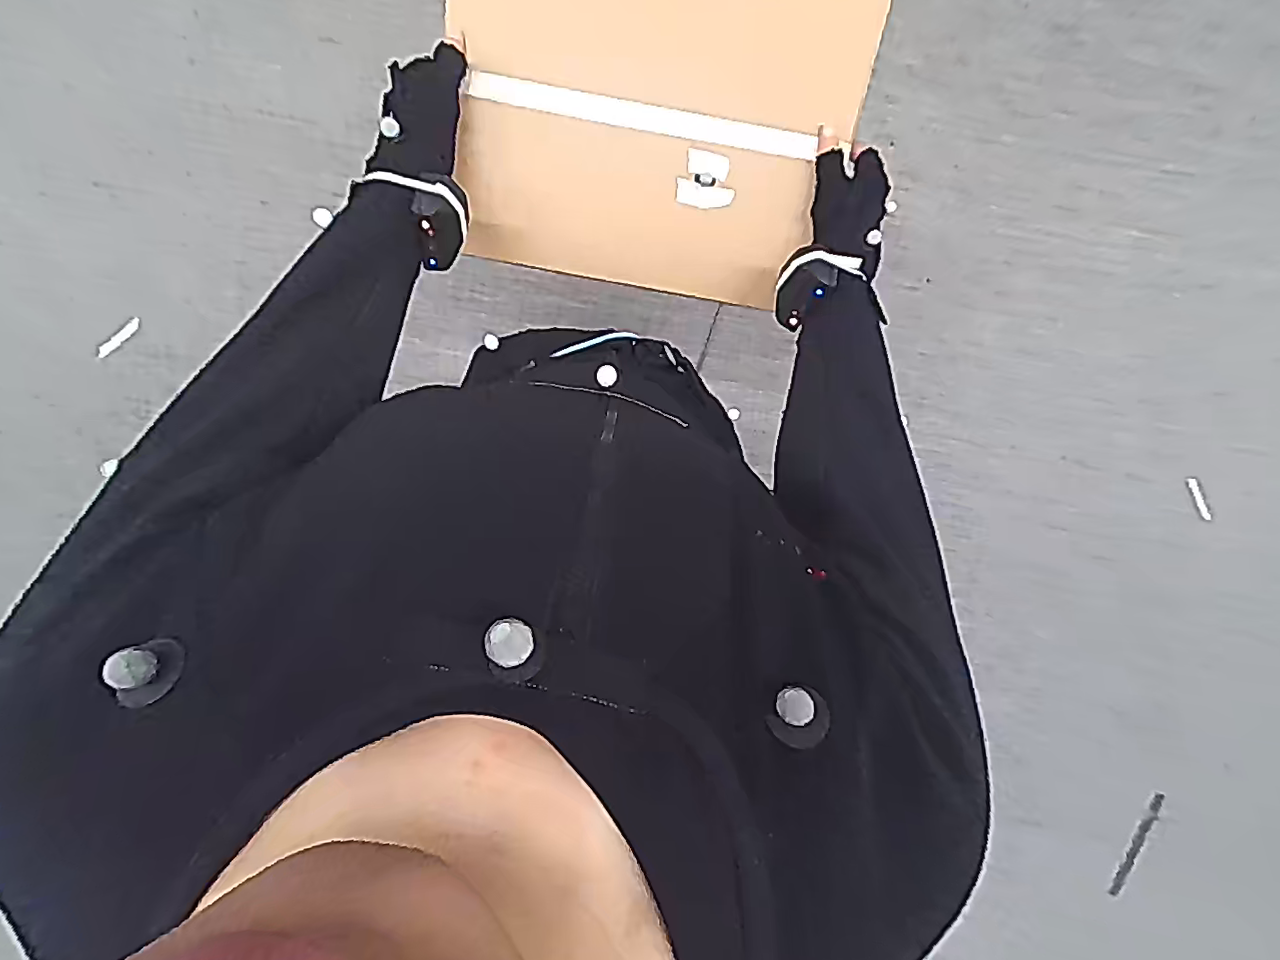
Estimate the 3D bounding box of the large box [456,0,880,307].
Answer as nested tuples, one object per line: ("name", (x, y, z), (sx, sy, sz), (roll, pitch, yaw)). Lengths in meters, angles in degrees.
("large box", (0.013, -0.419, 0.692), (0.408, 0.320, 0.320), (9, 112, -3))
